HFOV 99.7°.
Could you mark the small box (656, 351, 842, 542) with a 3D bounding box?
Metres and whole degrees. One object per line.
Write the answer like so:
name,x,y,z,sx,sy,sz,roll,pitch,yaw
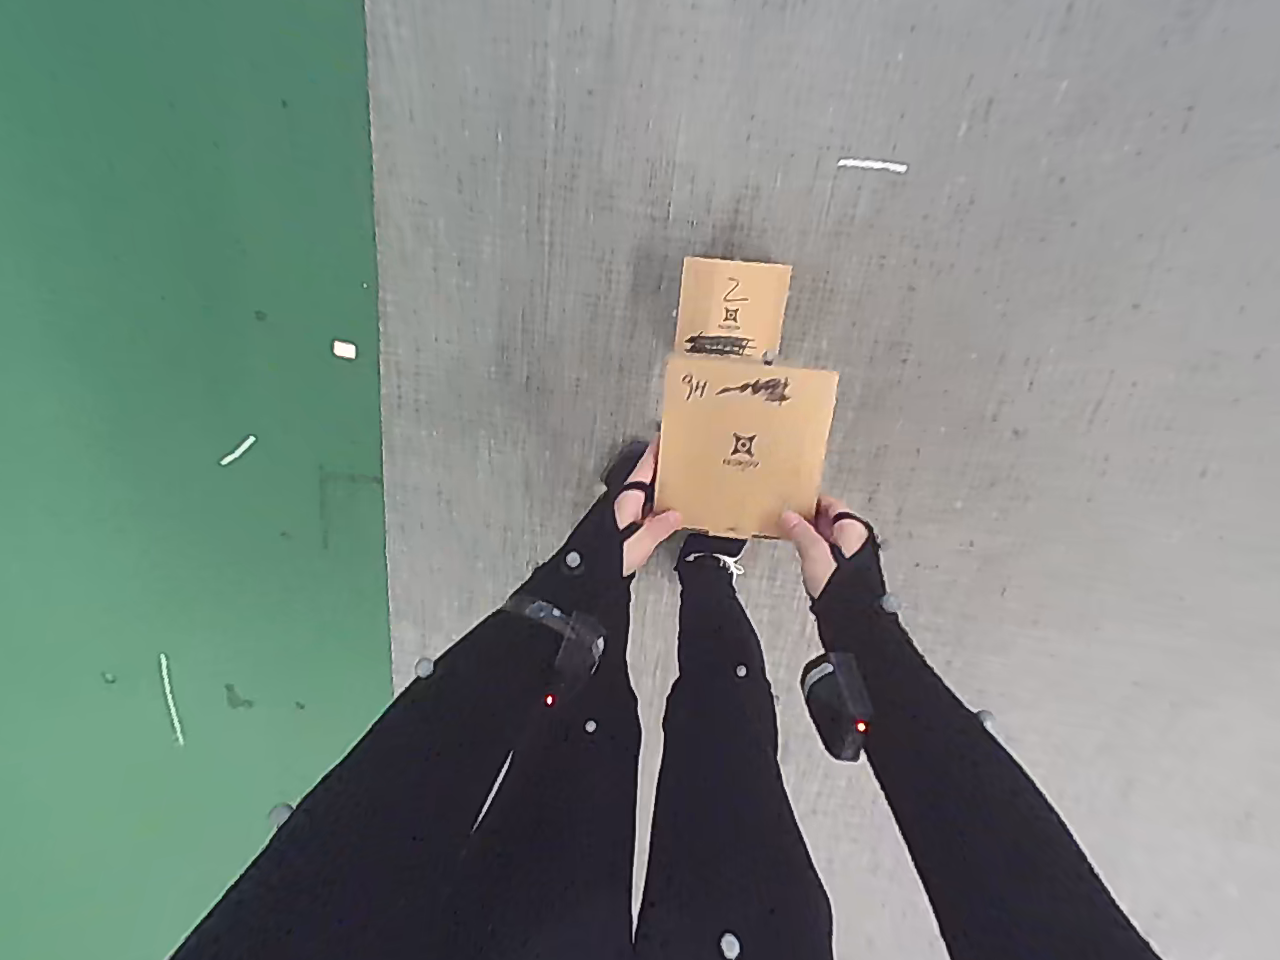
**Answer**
small box,0.111,-0.048,0.617,0.168,0.176,0.179,5,106,2
